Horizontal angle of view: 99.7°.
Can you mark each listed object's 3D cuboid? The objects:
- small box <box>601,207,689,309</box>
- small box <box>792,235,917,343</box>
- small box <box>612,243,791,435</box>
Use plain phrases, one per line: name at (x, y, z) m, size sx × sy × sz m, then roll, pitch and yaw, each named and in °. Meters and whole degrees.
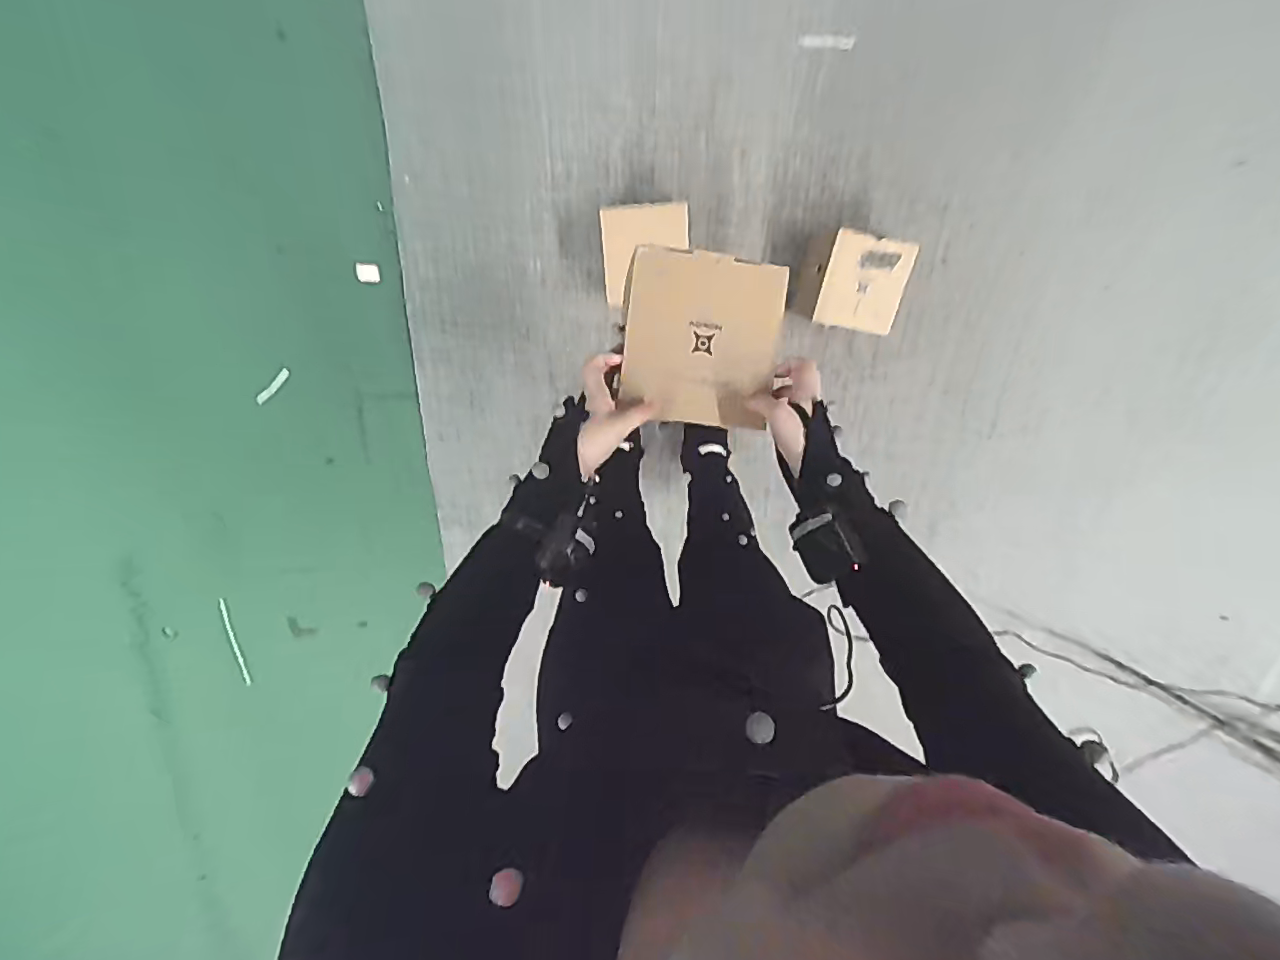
small box at (0.009, -0.448, 1.103) m, size 0.168 × 0.176 × 0.179 m, roll -3°, pitch 112°, yaw 1°
small box at (0.434, -0.400, 1.129) m, size 0.168 × 0.176 × 0.179 m, roll 10°, pitch 112°, yaw -5°
small box at (0.059, -0.150, 0.633) m, size 0.168 × 0.176 × 0.179 m, roll 6°, pitch 96°, yaw -5°
